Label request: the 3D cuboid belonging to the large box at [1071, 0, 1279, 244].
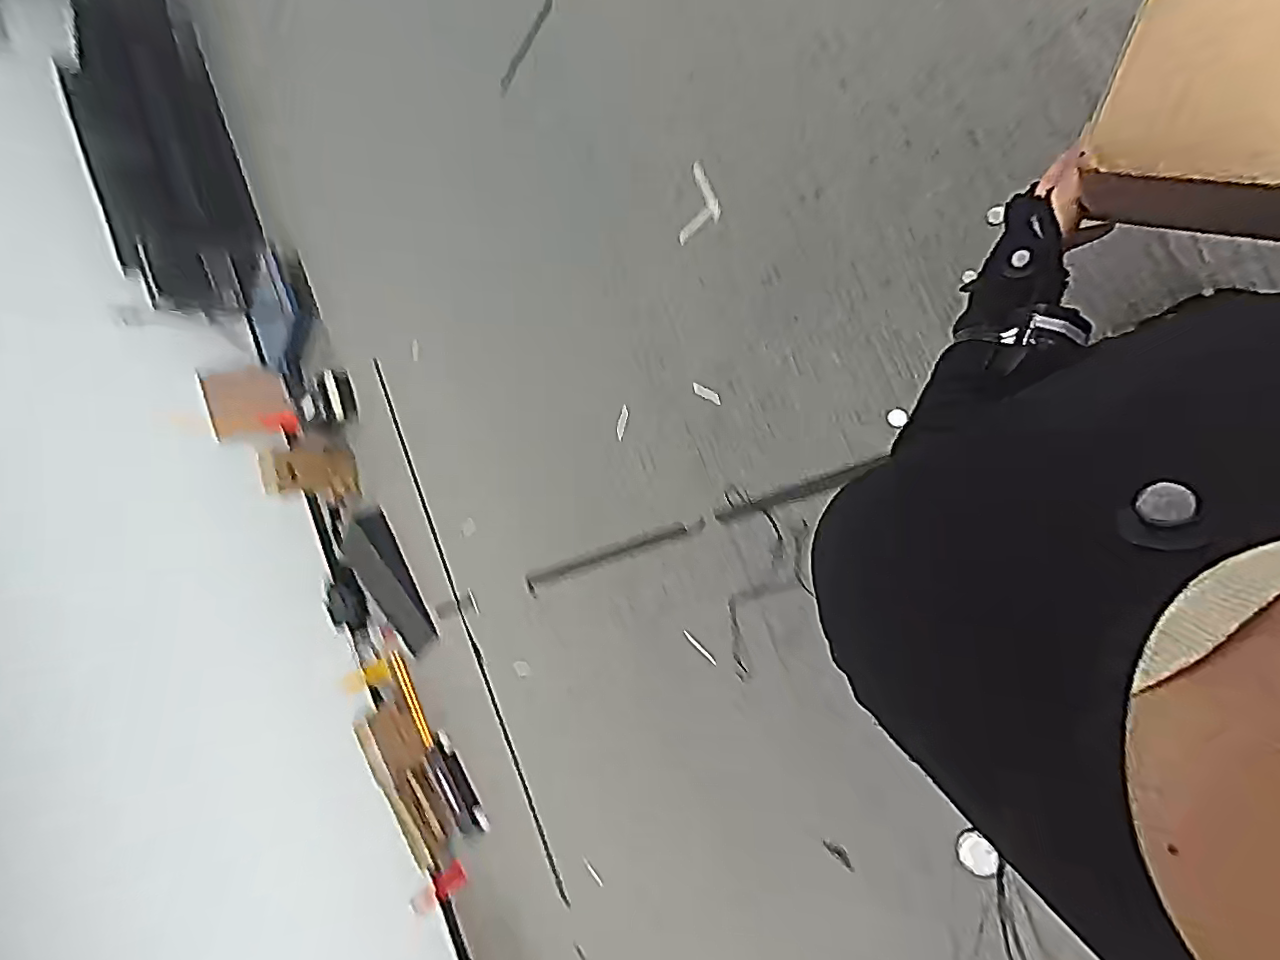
[{"bbox_3d":[0.463,-0.256,0.204,0.408,0.320,0.320,23,120,30],"label":"large box"}]
